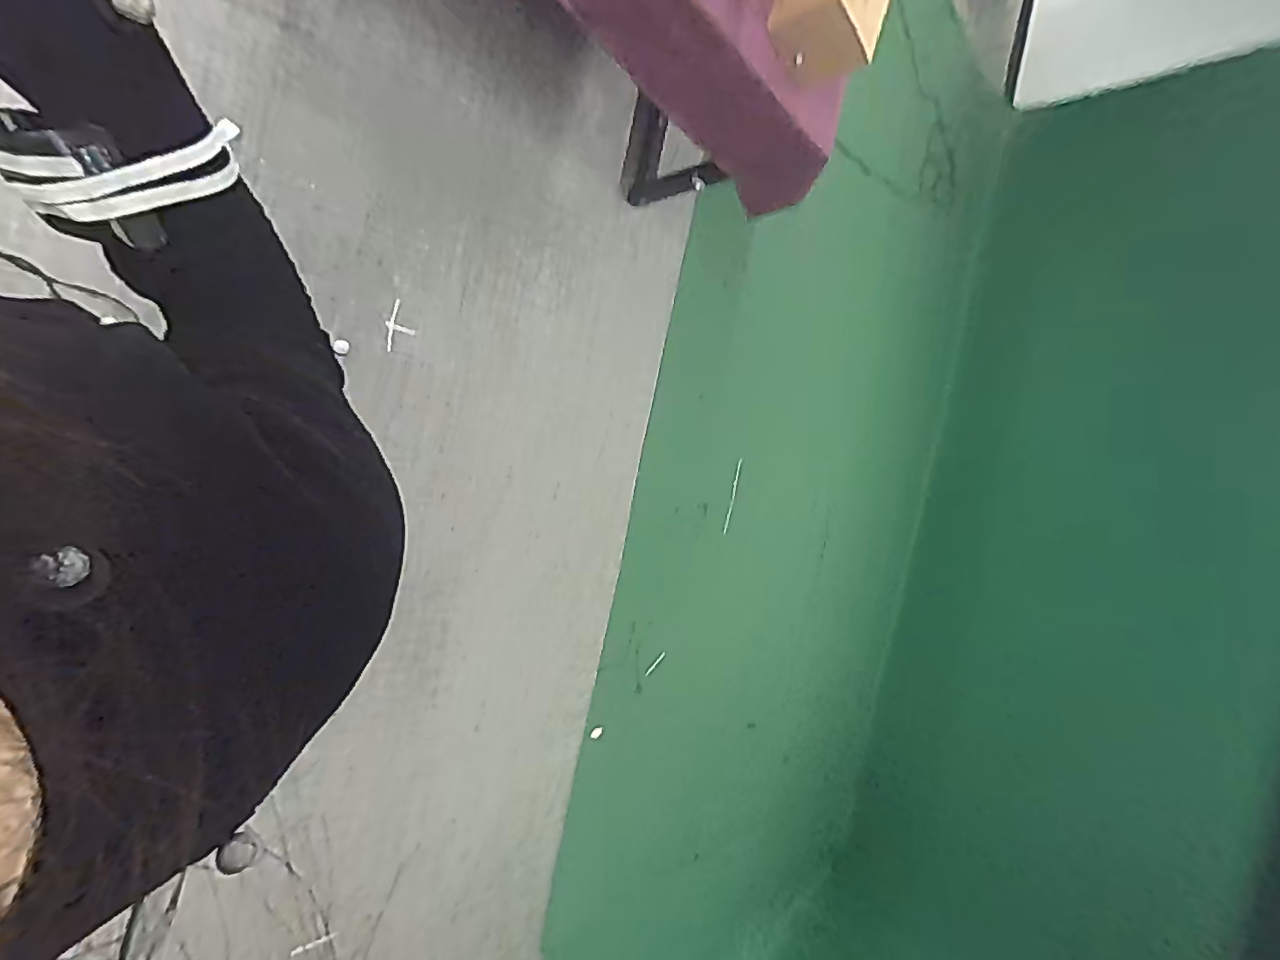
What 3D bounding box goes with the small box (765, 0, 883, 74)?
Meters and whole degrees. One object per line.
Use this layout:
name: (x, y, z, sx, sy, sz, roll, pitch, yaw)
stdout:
small box: (0.400, -1.025, 1.167, 0.179, 0.176, 0.168, 21, 84, -45)
